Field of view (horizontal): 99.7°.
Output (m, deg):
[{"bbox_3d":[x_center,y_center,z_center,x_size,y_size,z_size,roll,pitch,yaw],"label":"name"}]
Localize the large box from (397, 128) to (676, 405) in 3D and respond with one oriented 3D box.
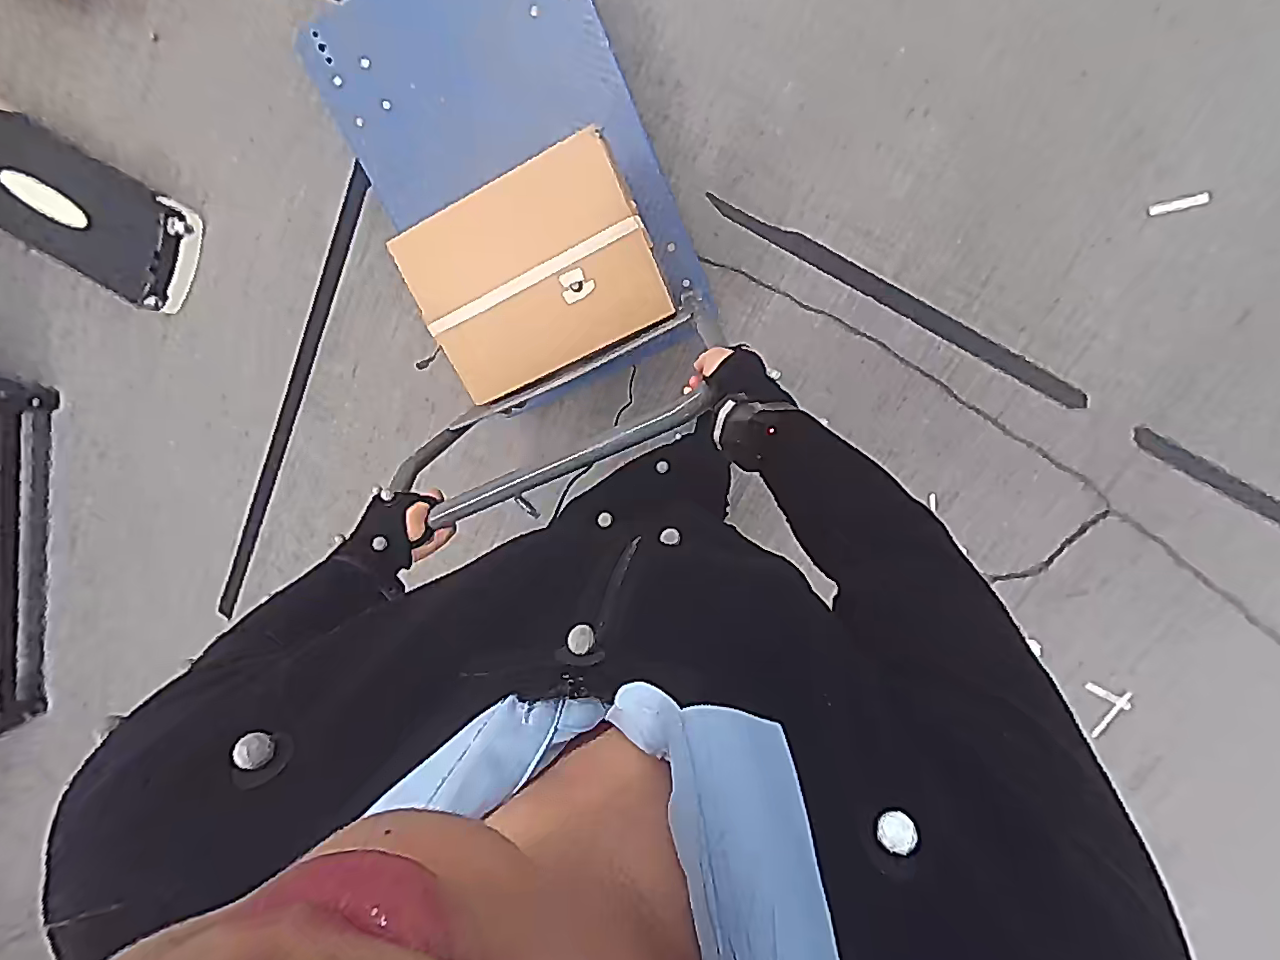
[{"bbox_3d":[-0.171,-0.392,1.070,0.408,0.320,0.320,-24,106,11],"label":"large box"}]
